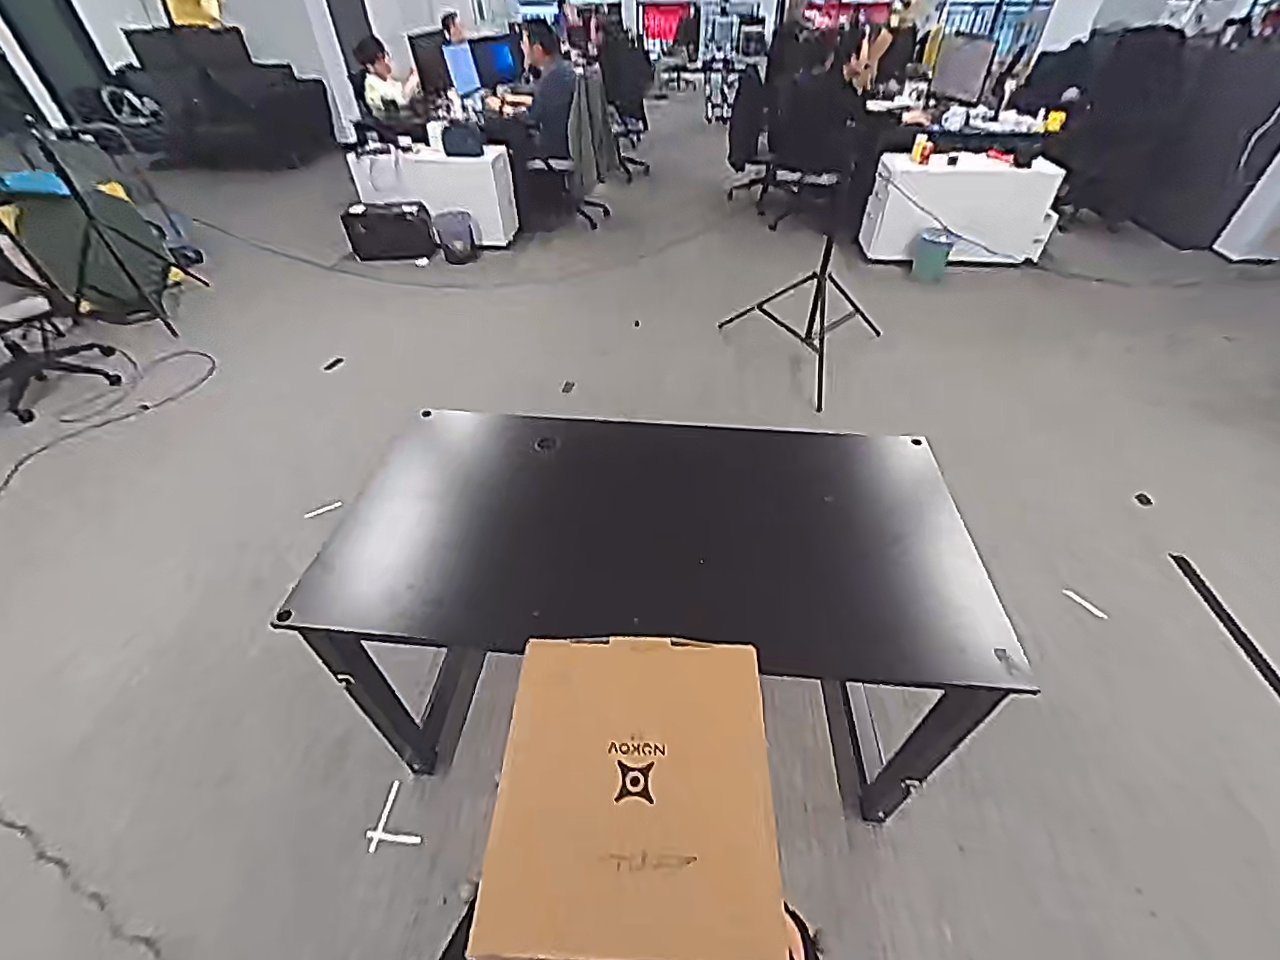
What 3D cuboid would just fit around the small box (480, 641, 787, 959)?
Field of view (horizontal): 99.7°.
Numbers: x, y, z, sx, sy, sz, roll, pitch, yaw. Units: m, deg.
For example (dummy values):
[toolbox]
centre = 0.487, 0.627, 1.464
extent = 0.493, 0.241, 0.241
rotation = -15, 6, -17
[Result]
[small box]
centre = 0.000, 0.239, 0.397
extent = 0.168, 0.176, 0.179
rotation = 1, 48, 2
